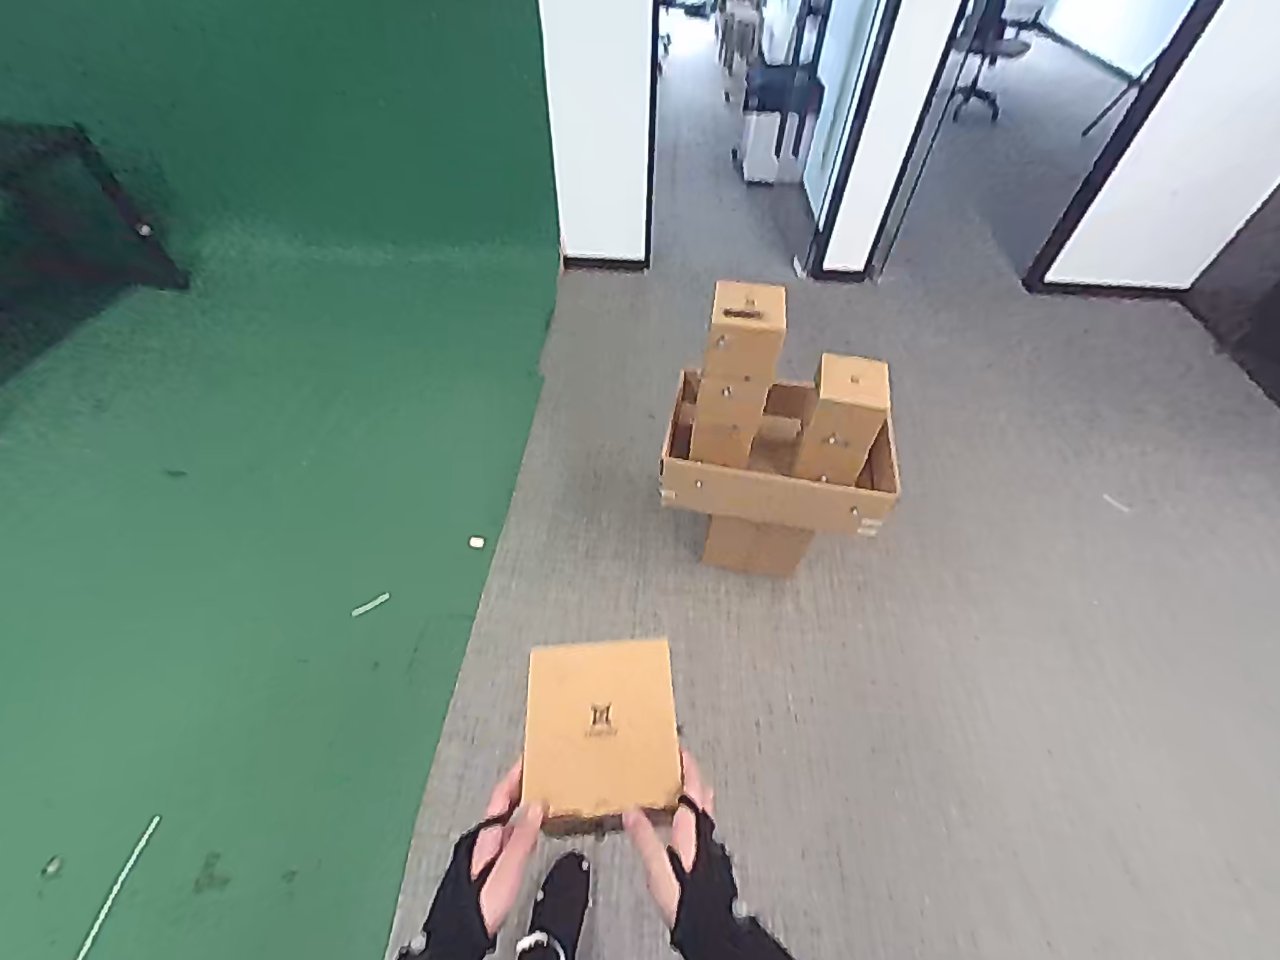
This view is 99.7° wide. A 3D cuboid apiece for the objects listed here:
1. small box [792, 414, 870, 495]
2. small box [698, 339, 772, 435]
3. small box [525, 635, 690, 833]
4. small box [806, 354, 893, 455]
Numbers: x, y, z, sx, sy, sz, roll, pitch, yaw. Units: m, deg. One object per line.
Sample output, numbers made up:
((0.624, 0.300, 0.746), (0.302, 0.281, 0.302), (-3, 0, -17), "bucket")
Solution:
((0.532, -0.089, 1.514), (0.168, 0.176, 0.179), (13, 52, 9), "small box")
((0.246, -0.244, 1.421), (0.168, 0.176, 0.179), (7, 51, 4), "small box")
((-0.035, 0.304, 0.644), (0.168, 0.176, 0.179), (-3, 52, -2), "small box")
((0.531, -0.192, 1.388), (0.168, 0.176, 0.179), (12, 51, 8), "small box")
